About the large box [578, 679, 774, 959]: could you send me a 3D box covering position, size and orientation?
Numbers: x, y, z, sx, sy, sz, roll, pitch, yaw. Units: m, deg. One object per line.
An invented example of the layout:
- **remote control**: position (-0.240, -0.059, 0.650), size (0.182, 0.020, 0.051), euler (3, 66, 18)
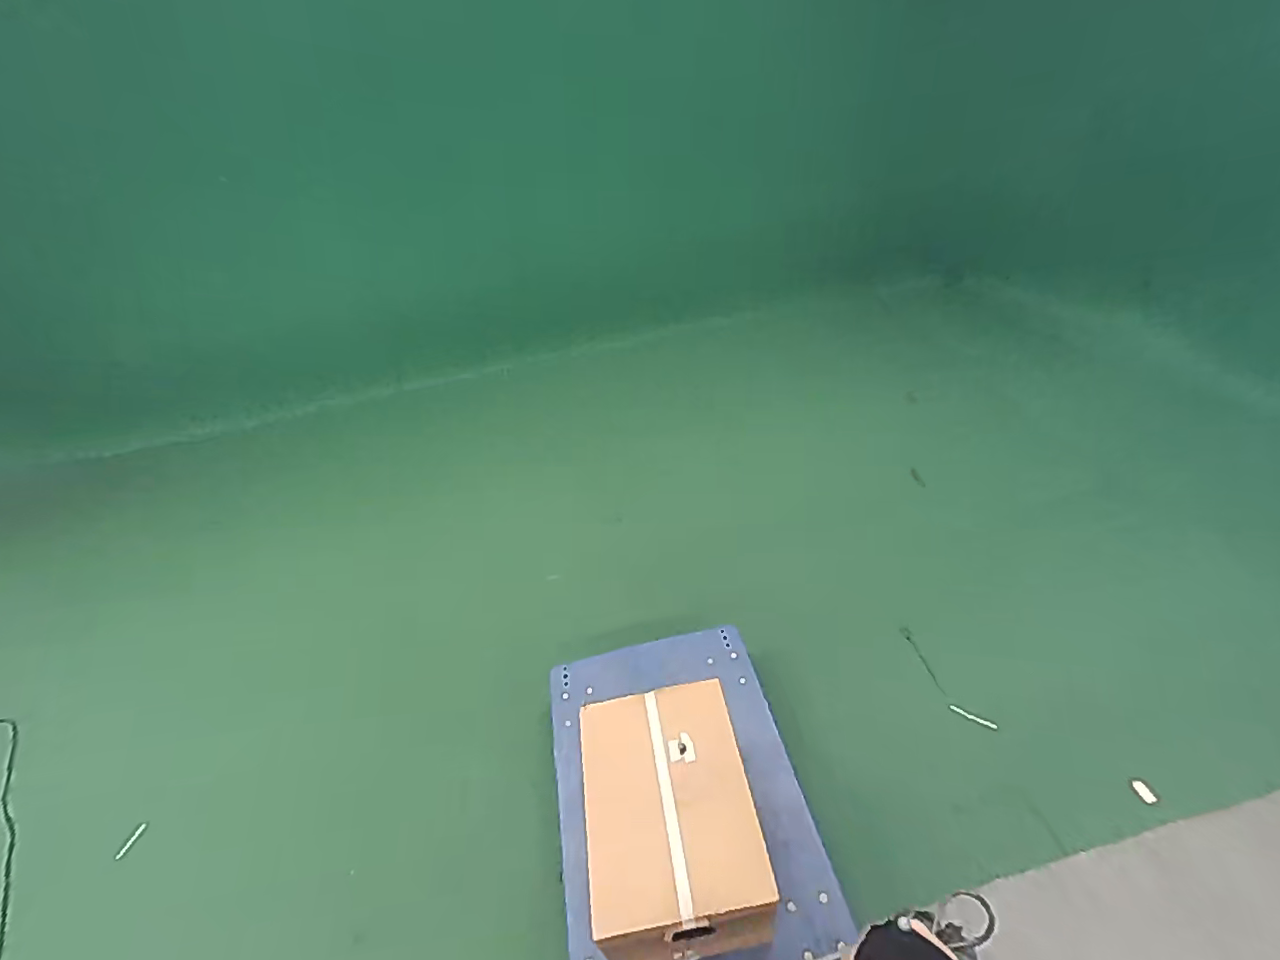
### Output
- **large box**: position (0.064, 0.704, 1.128), size (0.320, 0.320, 0.408), euler (-10, 39, -2)
